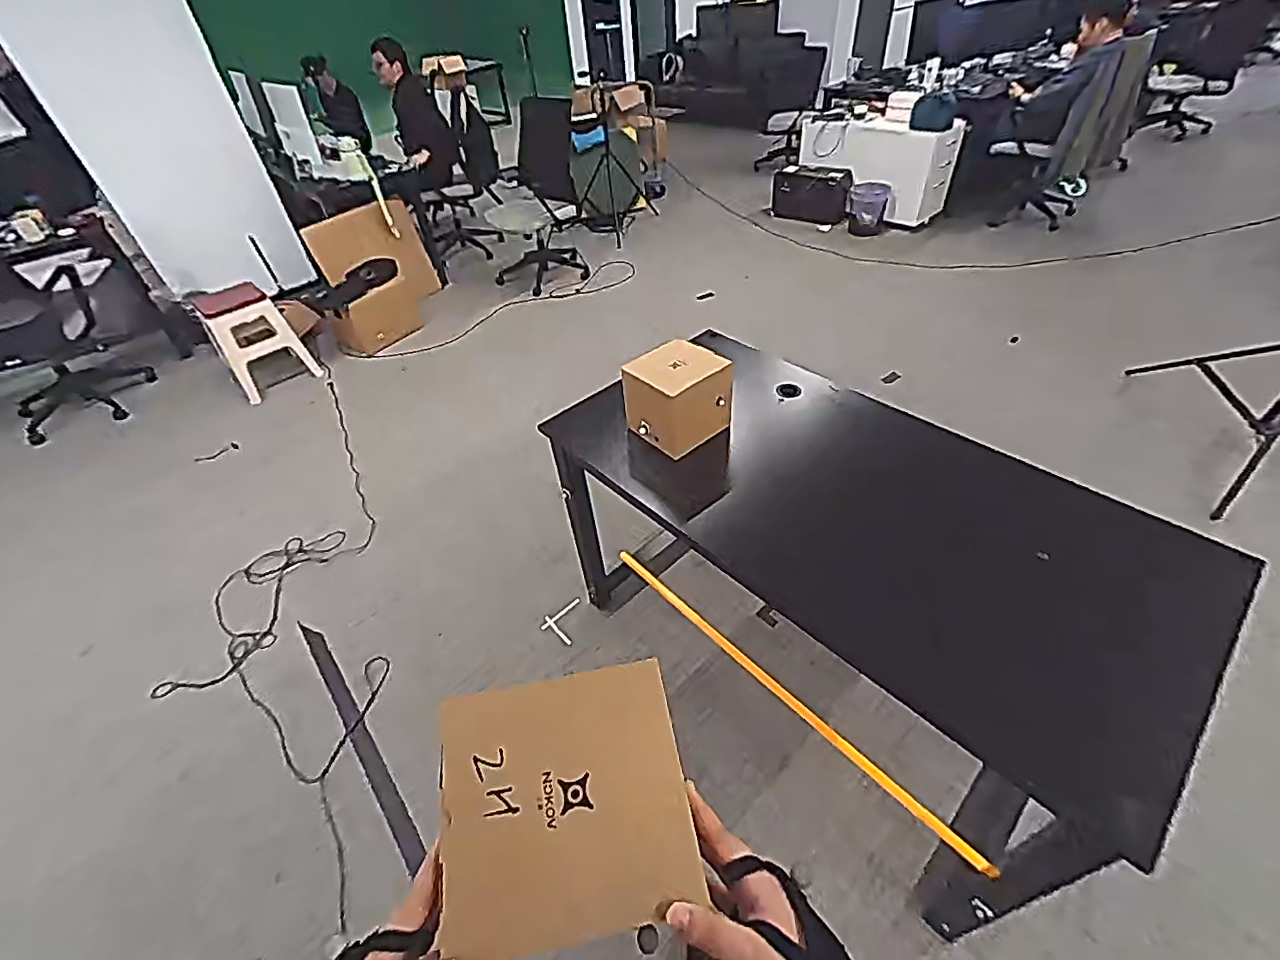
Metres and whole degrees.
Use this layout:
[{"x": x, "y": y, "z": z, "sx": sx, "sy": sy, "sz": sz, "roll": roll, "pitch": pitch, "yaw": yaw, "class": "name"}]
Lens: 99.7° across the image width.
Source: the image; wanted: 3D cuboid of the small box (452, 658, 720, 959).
[{"x": -0.047, "y": 0.269, "z": 0.455, "sx": 0.179, "sy": 0.176, "sz": 0.168, "roll": -10, "pitch": 55, "yaw": -6, "class": "small box"}]

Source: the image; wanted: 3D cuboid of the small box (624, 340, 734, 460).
[{"x": 0.086, "y": -0.176, "z": 1.185, "sx": 0.179, "sy": 0.176, "sz": 0.168, "roll": -34, "pitch": 49, "yaw": -25, "class": "small box"}]
